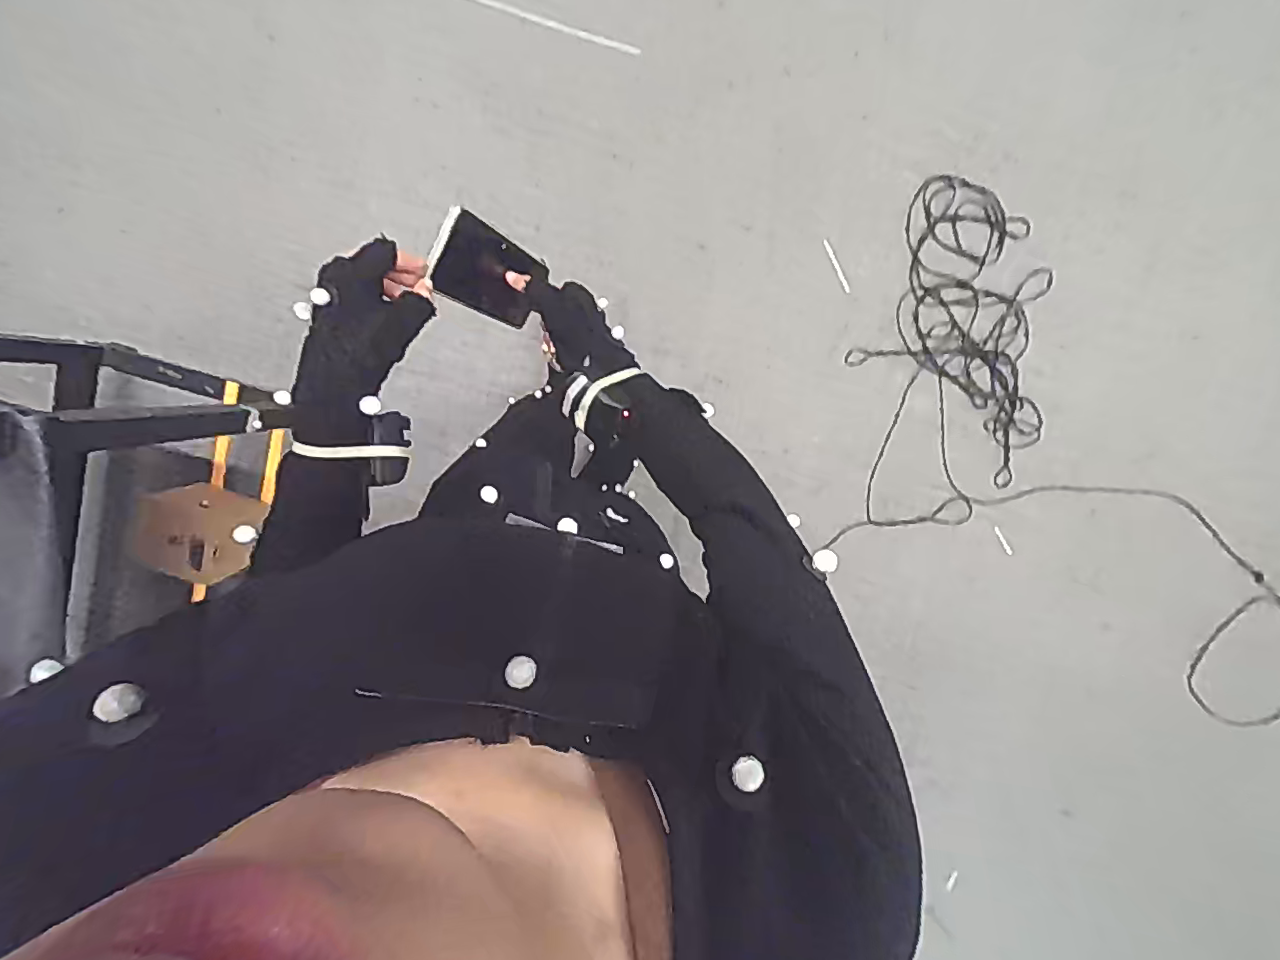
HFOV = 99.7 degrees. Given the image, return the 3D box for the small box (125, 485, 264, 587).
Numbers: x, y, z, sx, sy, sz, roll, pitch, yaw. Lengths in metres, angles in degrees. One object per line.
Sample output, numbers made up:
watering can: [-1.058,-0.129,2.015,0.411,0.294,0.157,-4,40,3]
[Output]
small box: [-1.031,0.123,1.266,0.179,0.176,0.168,20,99,-5]
